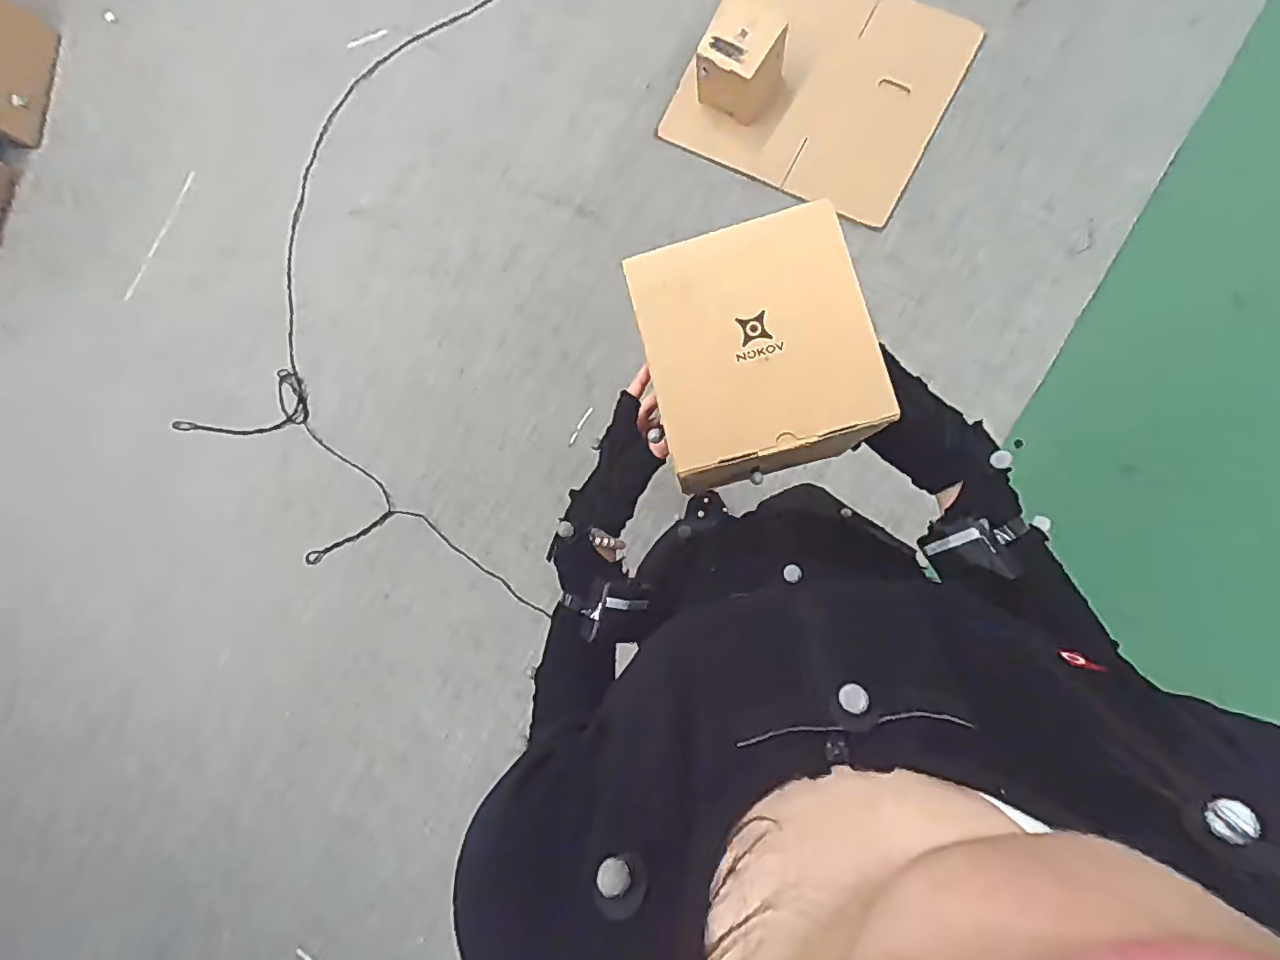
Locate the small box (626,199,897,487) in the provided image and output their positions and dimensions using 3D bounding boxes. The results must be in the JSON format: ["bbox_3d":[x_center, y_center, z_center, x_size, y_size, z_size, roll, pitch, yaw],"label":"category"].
[{"bbox_3d":[0.093,-0.101,0.479,0.168,0.176,0.179,-15,83,4],"label":"small box"}]
